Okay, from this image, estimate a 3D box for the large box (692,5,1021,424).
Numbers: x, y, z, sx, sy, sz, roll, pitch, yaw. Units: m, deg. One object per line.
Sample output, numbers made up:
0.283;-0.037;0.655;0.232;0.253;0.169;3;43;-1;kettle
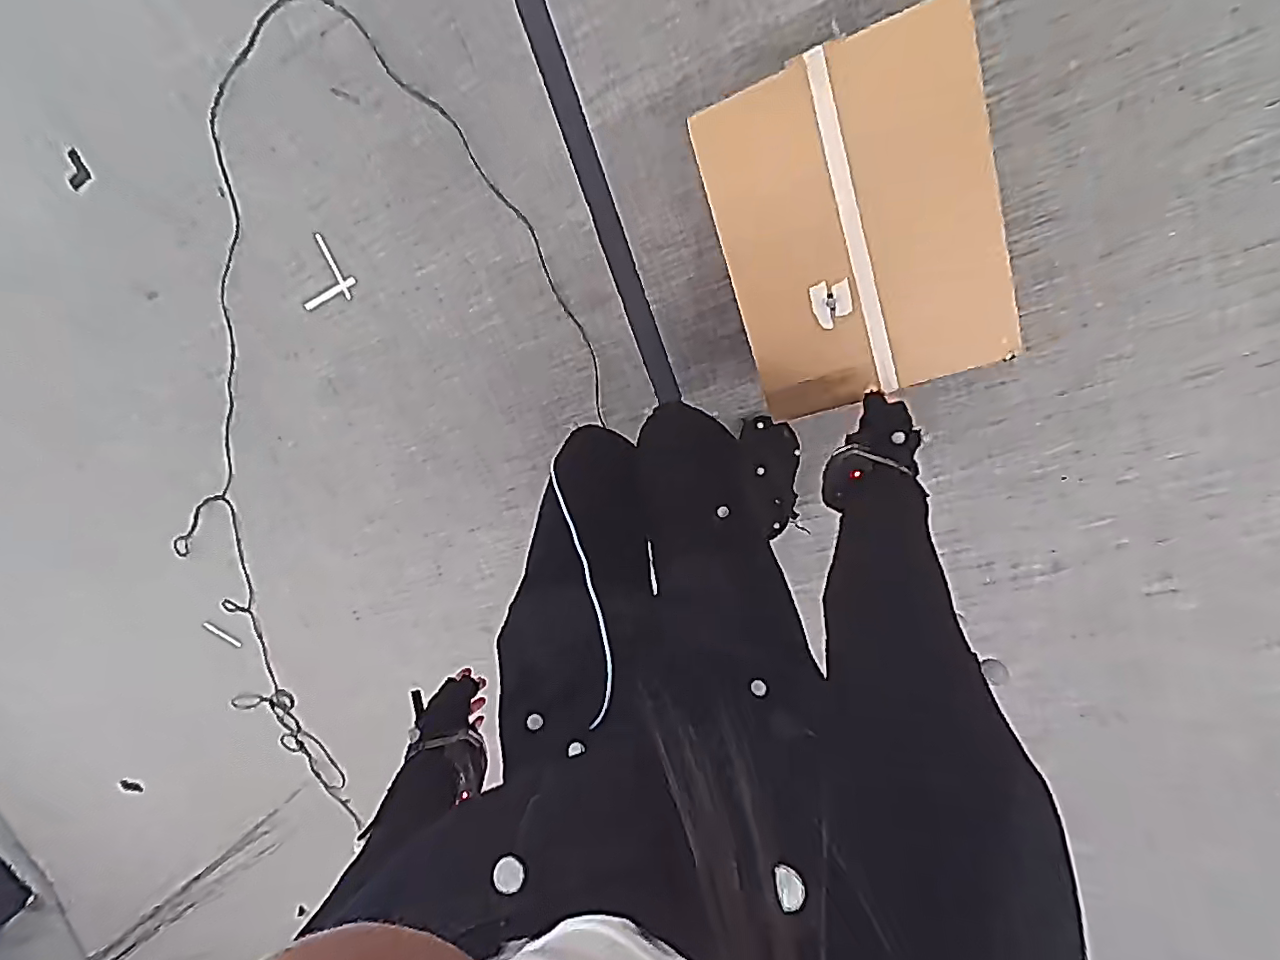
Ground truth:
0.302;-0.349;0.812;0.320;0.320;0.408;-16;106;20;large box
